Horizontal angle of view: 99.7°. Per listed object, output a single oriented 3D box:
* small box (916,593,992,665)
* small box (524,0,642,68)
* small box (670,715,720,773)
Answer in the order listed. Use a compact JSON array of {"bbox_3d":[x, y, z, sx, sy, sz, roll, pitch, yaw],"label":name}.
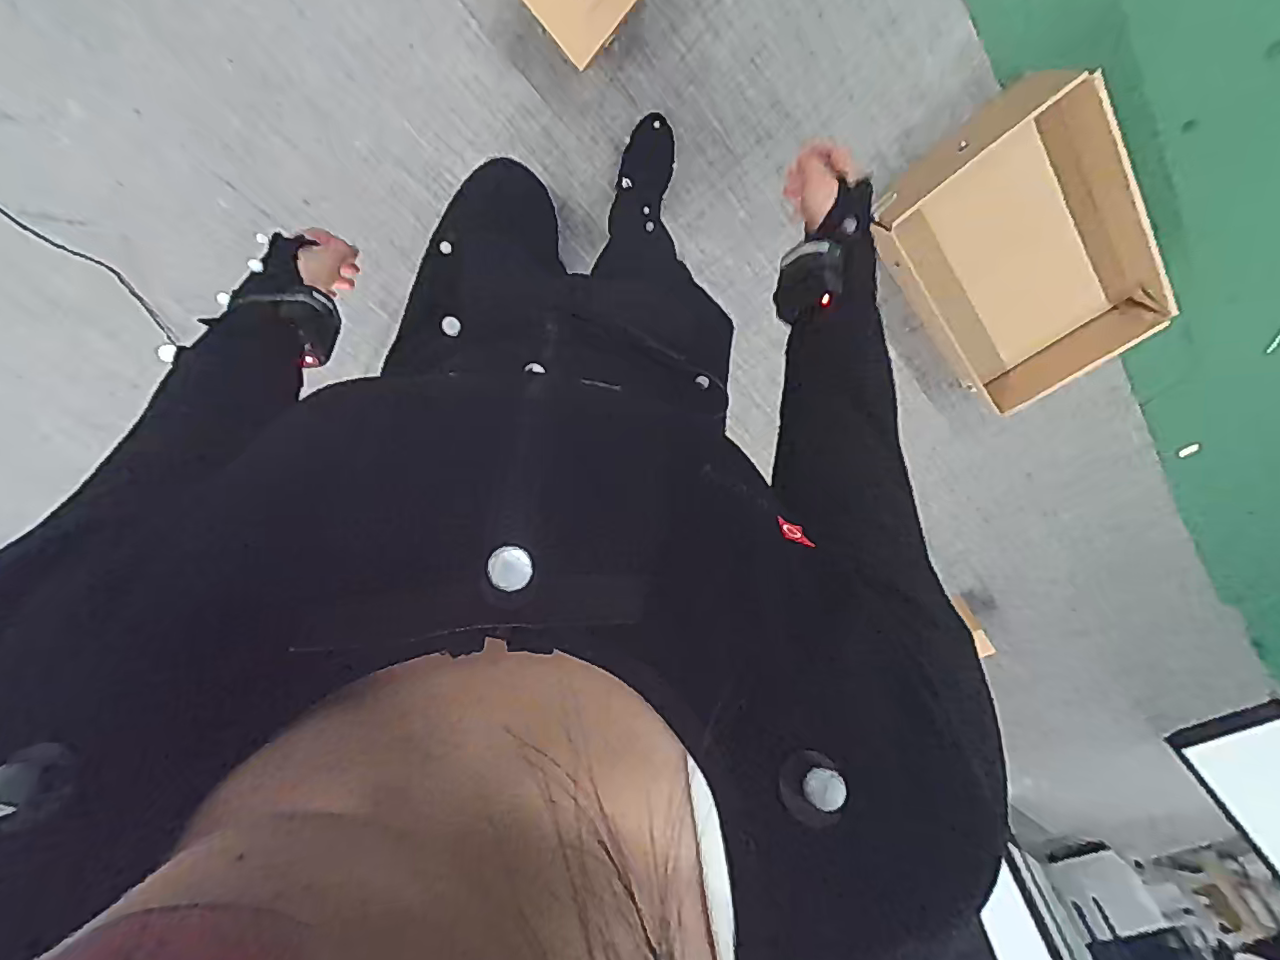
[{"bbox_3d":[1.181,0.559,2.039,0.168,0.176,0.179,-32,121,21],"label":"small box"},{"bbox_3d":[-0.105,-0.863,0.942,0.168,0.176,0.179,-37,121,26],"label":"small box"},{"bbox_3d":[0.259,1.255,2.571,0.179,0.176,0.168,-36,119,23],"label":"small box"}]
